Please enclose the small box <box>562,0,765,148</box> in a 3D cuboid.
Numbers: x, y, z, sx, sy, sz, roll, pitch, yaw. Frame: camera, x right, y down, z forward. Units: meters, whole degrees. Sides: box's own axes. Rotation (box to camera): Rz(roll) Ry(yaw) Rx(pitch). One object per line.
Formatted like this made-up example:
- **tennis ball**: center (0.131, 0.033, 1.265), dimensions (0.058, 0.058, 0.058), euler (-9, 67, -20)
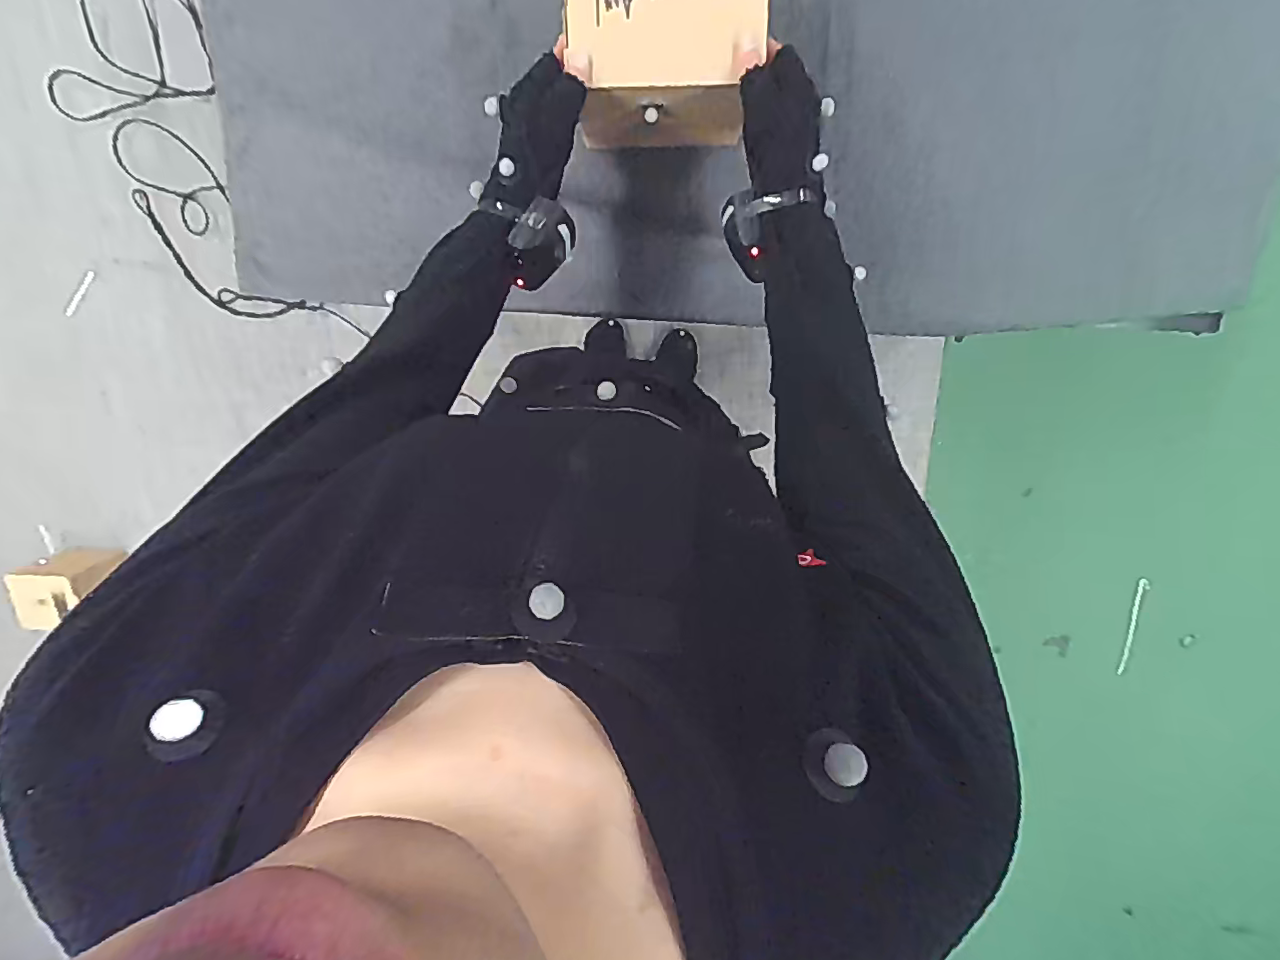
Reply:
- **small box**: center (0.021, -0.443, 0.531), dimensions (0.179, 0.176, 0.168), euler (0, 106, 0)
